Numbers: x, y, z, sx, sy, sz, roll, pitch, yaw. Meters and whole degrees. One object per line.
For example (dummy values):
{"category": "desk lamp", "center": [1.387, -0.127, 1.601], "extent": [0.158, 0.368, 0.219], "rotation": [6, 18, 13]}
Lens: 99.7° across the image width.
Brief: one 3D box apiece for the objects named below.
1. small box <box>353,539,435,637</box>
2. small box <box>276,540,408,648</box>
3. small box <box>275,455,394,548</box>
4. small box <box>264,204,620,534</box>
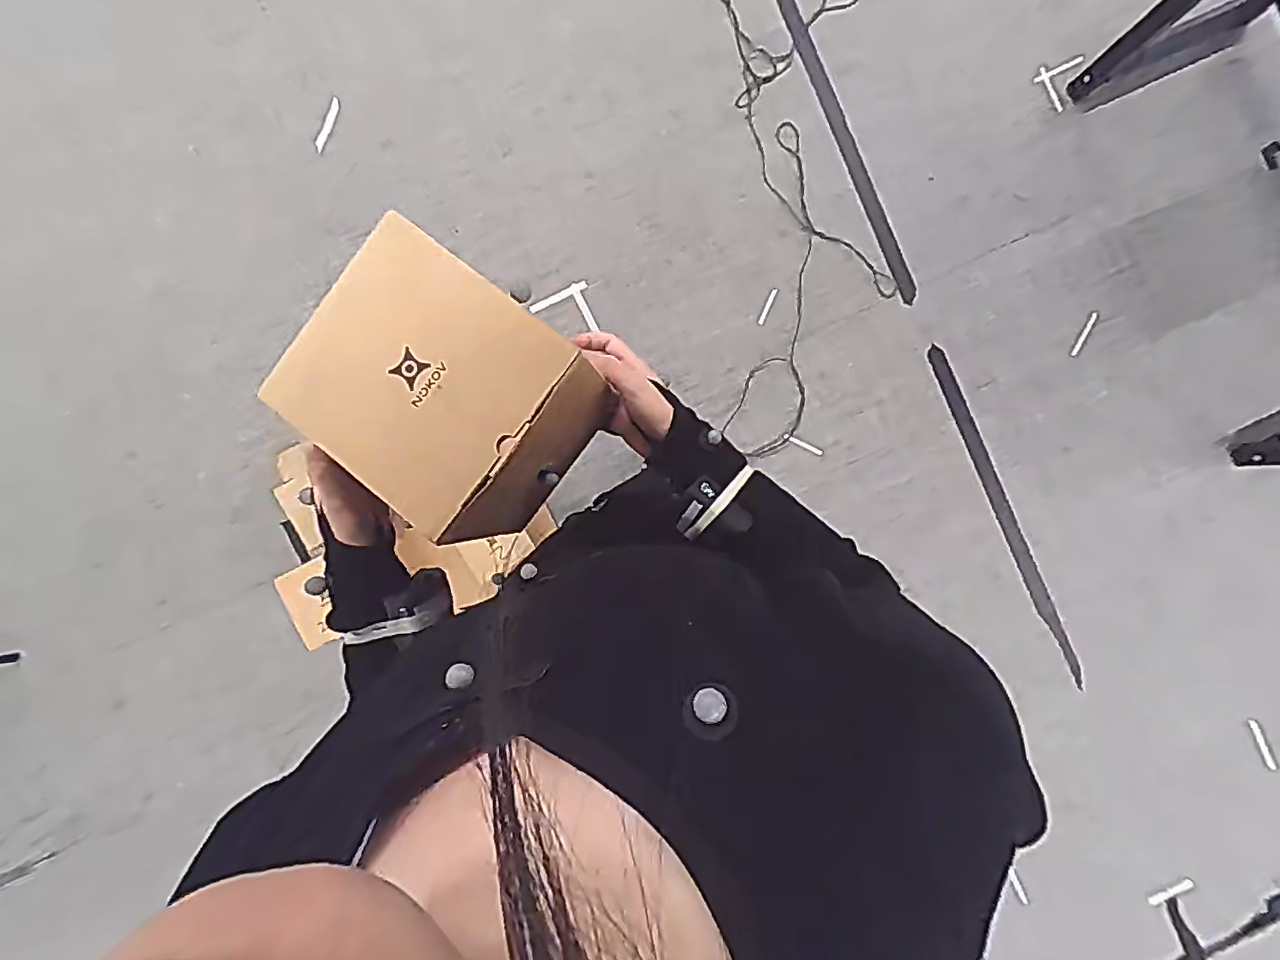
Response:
{"category": "small box", "center": [-0.659, 0.268, 1.390], "extent": [0.168, 0.176, 0.179], "rotation": [-30, 92, -2]}
{"category": "small box", "center": [-0.665, 0.247, 1.225], "extent": [0.168, 0.176, 0.179], "rotation": [-27, 91, 0]}
{"category": "small box", "center": [-0.776, 0.053, 1.391], "extent": [0.168, 0.176, 0.179], "rotation": [-31, 91, 0]}
{"category": "small box", "center": [-0.139, -0.073, 0.444], "extent": [0.179, 0.176, 0.168], "rotation": [38, 93, 6]}
